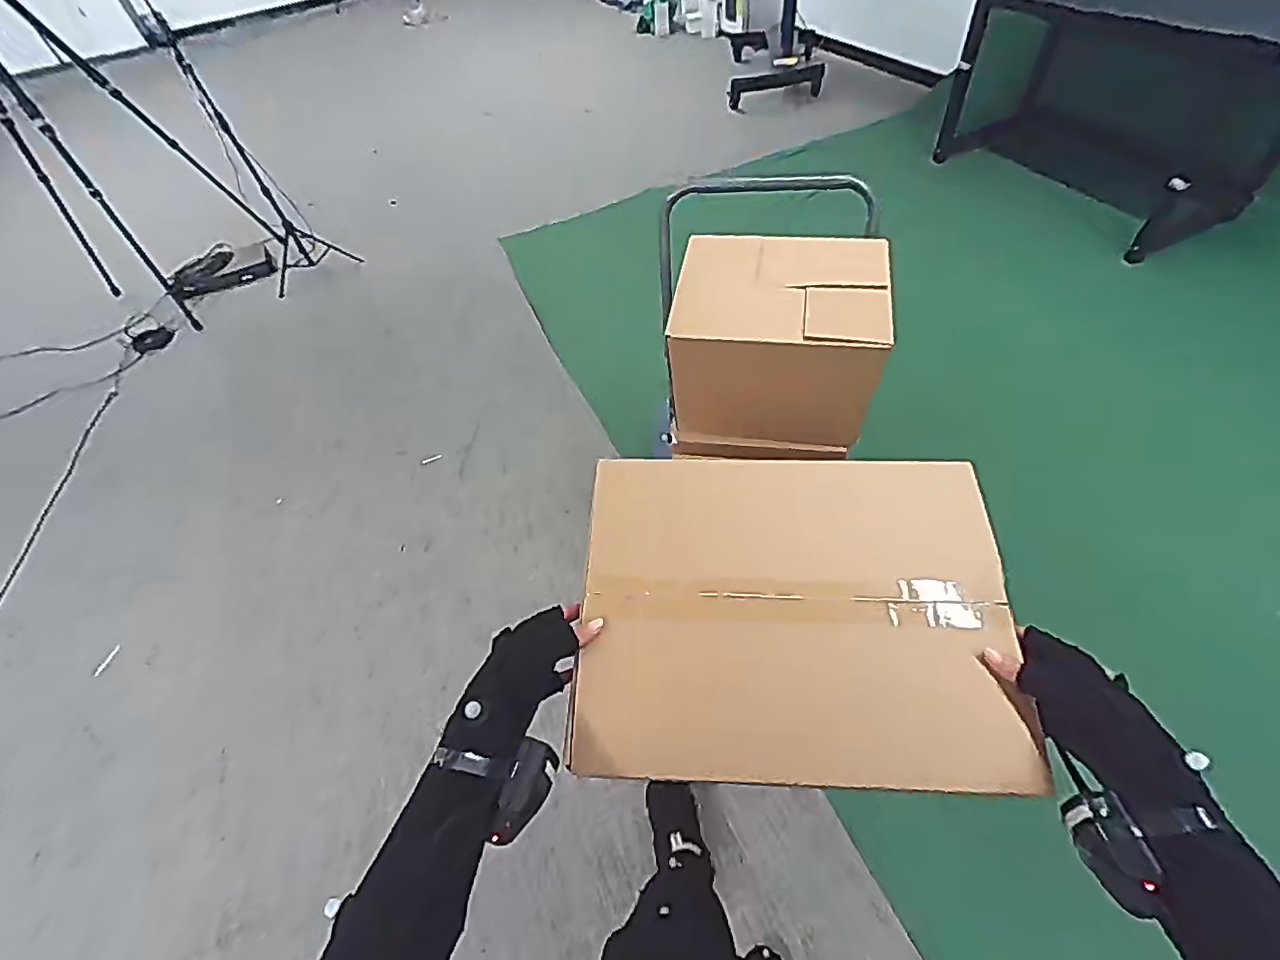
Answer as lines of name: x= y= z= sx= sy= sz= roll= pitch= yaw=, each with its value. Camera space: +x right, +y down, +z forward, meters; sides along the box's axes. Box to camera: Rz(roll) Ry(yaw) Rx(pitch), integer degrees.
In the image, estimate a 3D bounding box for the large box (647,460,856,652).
large box: x=0.251 y=0.177 z=1.241 sx=0.408 sy=0.320 sz=0.320 roll=5 pitch=53 yaw=12
